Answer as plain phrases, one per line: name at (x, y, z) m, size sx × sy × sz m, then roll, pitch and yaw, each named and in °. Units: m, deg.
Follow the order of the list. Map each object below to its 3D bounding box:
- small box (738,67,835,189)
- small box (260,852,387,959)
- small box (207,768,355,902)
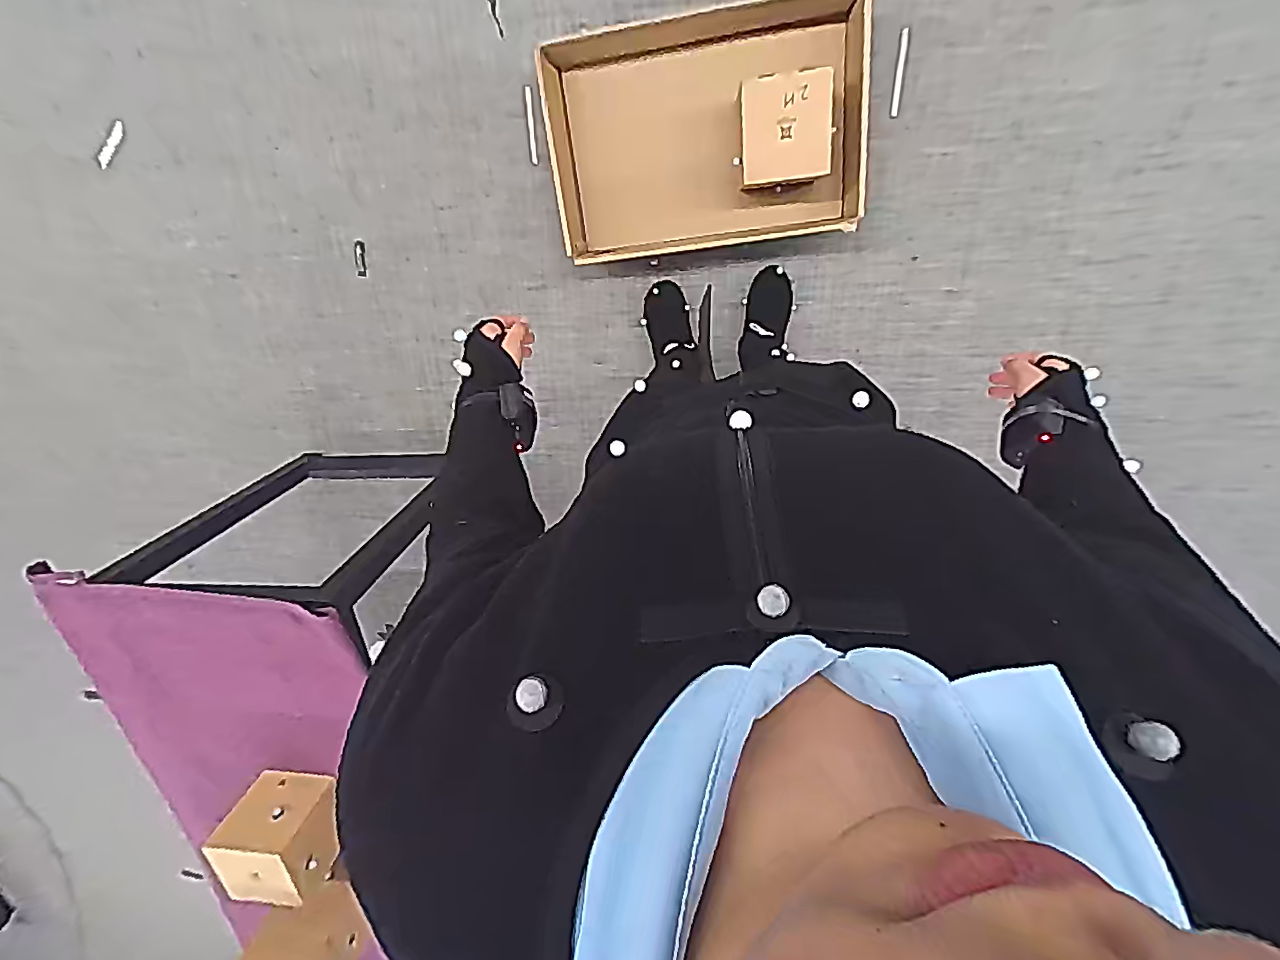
small box at (0.286, -0.694, 1.087) m, size 0.168 × 0.176 × 0.179 m, roll -3°, pitch 114°, yaw 8°
small box at (-0.712, 0.991, 1.242) m, size 0.168 × 0.176 × 0.179 m, roll 0°, pitch 114°, yaw 7°
small box at (-0.733, 0.731, 1.125) m, size 0.168 × 0.176 × 0.179 m, roll 1°, pitch 115°, yaw 7°
